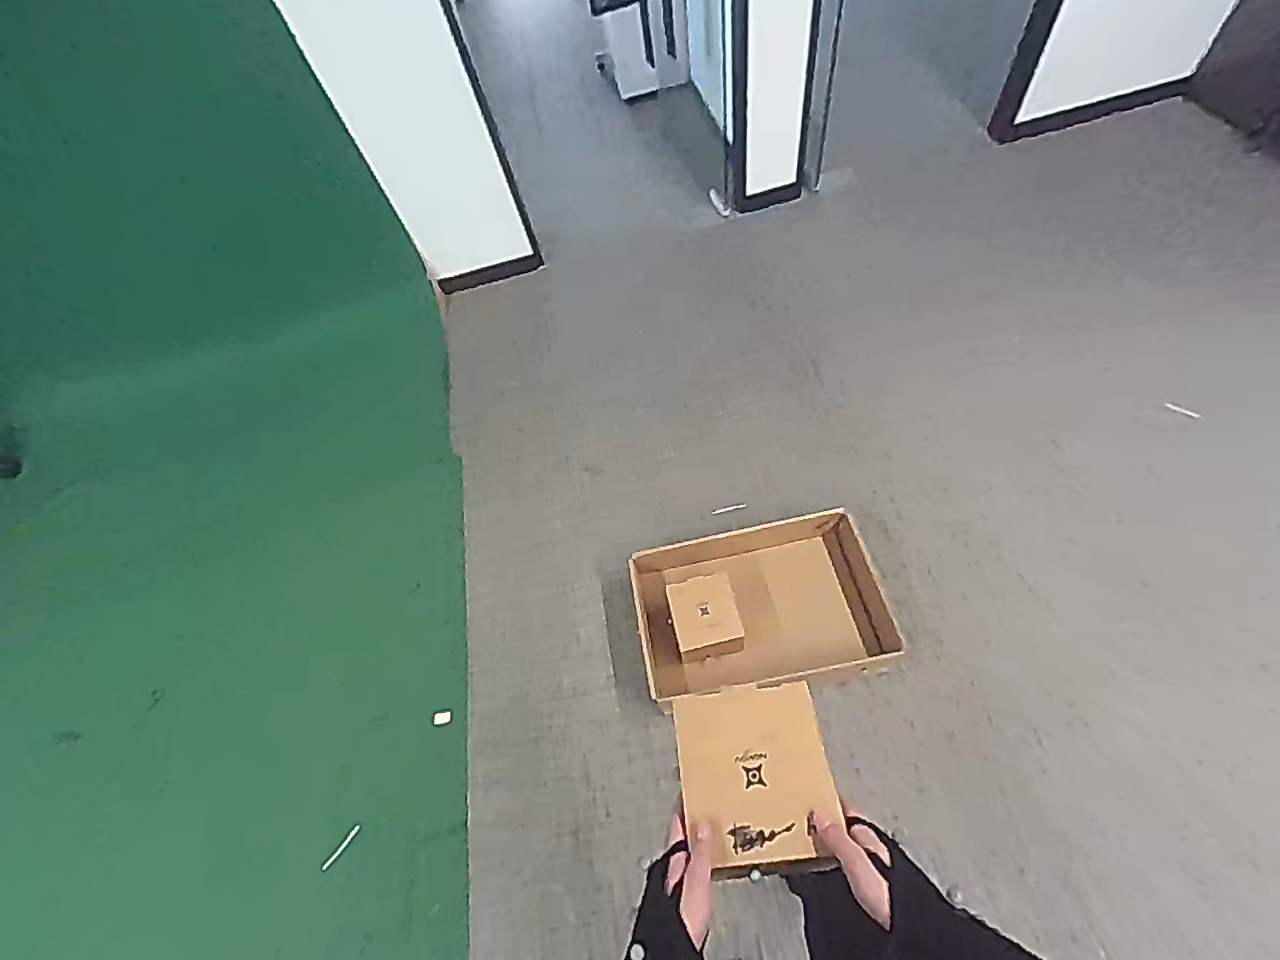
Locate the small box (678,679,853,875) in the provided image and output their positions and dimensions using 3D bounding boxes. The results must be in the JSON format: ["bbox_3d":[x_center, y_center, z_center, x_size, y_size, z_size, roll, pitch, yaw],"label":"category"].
[{"bbox_3d":[0.140,0.366,0.662,0.168,0.176,0.179,-8,50,4],"label":"small box"}]
